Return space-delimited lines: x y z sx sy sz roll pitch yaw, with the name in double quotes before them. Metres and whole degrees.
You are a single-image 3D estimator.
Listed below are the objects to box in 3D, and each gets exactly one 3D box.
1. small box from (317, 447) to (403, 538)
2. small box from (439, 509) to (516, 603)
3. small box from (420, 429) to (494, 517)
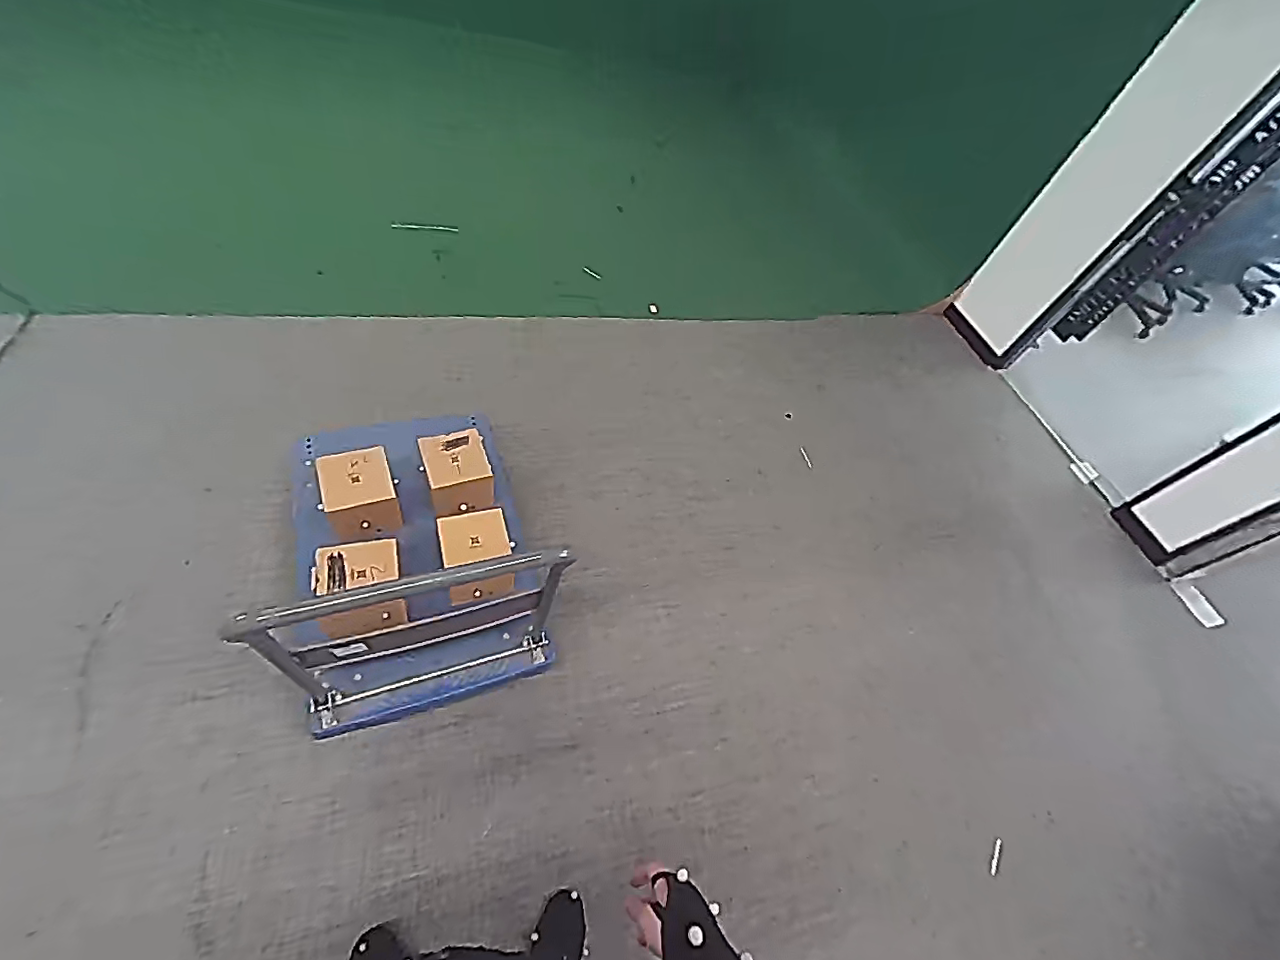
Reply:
"small box" -0.748 0.040 1.456 0.168 0.176 0.179 -14 60 -24
"small box" -0.432 0.202 1.431 0.168 0.176 0.179 -10 59 -21
"small box" -0.525 -0.019 1.557 0.168 0.176 0.179 -14 62 -23
